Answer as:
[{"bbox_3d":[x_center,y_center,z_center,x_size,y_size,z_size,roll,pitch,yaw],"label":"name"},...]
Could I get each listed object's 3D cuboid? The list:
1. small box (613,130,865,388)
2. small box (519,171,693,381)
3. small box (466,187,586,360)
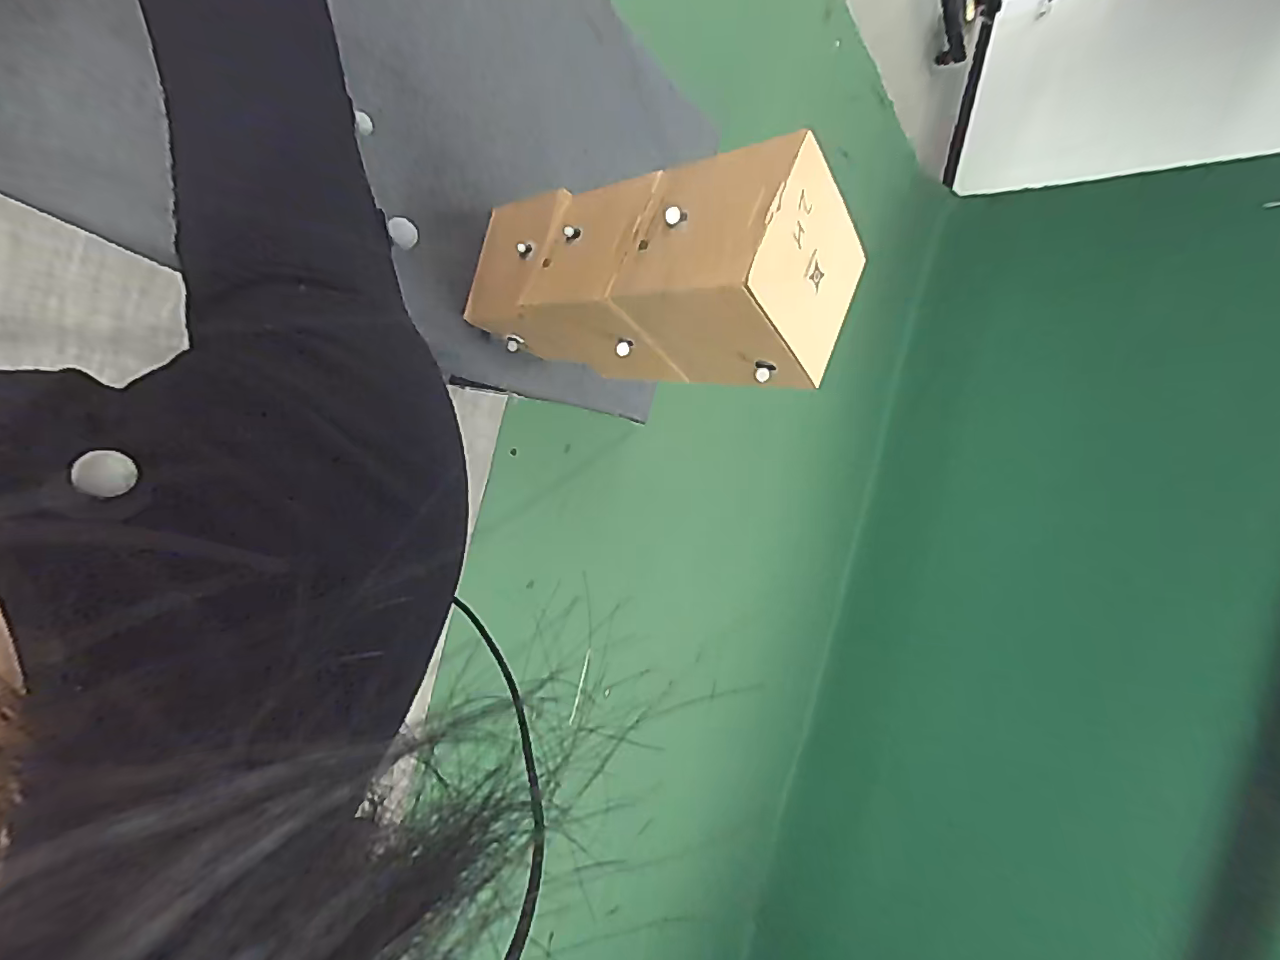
[{"bbox_3d":[0.105,-0.215,0.569,0.179,0.176,0.168,34,75,-45],"label":"small box"},{"bbox_3d":[-0.015,-0.243,0.678,0.179,0.176,0.168,31,77,-45],"label":"small box"},{"bbox_3d":[-0.128,-0.287,0.788,0.168,0.176,0.179,16,89,-47],"label":"small box"}]
